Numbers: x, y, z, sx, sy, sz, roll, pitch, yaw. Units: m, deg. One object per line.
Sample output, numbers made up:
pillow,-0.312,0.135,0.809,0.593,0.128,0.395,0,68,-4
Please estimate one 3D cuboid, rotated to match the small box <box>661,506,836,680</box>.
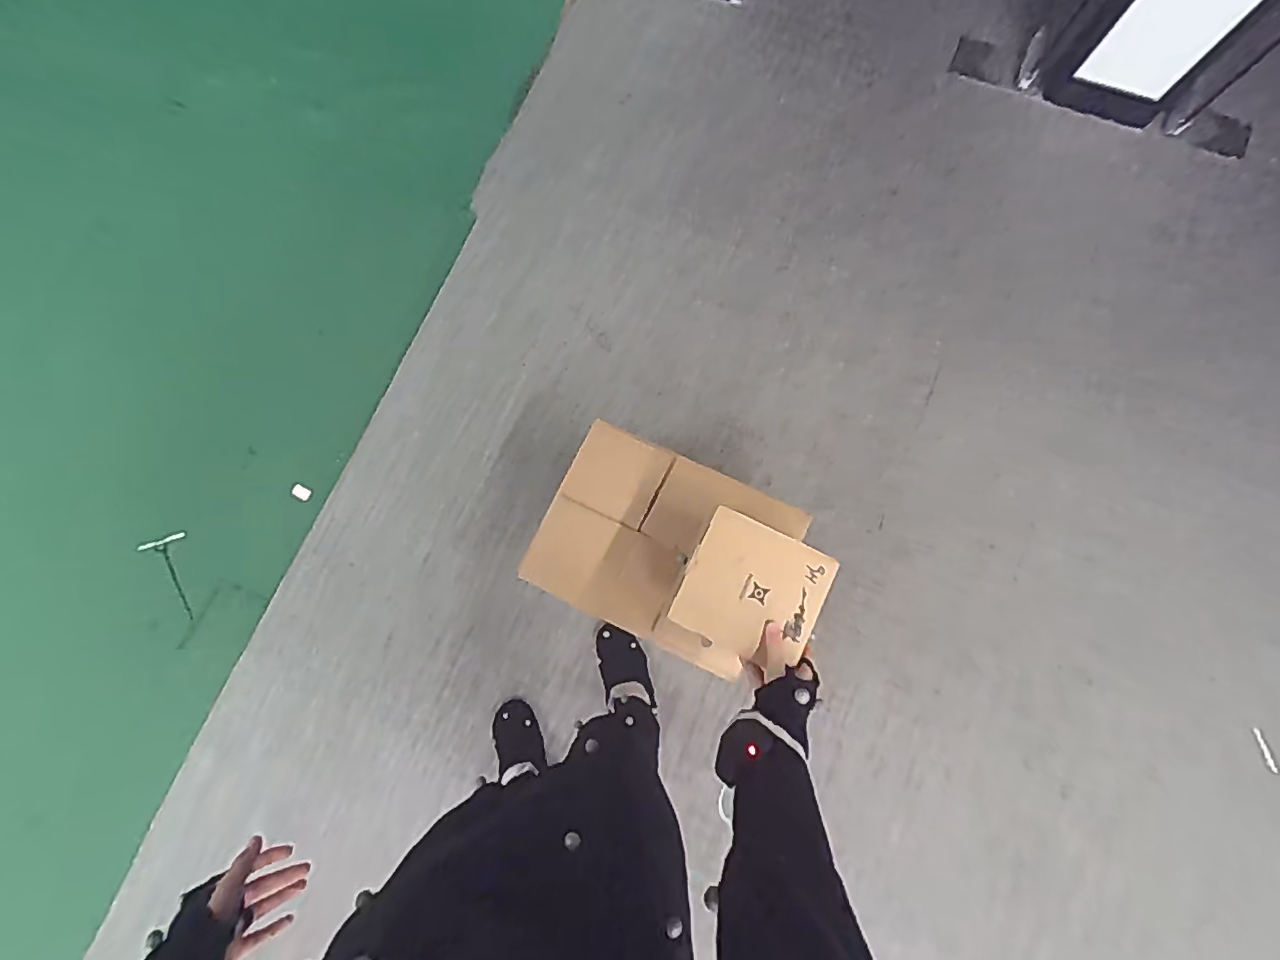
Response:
small box,0.142,0.158,0.768,0.179,0.176,0.168,26,81,7
